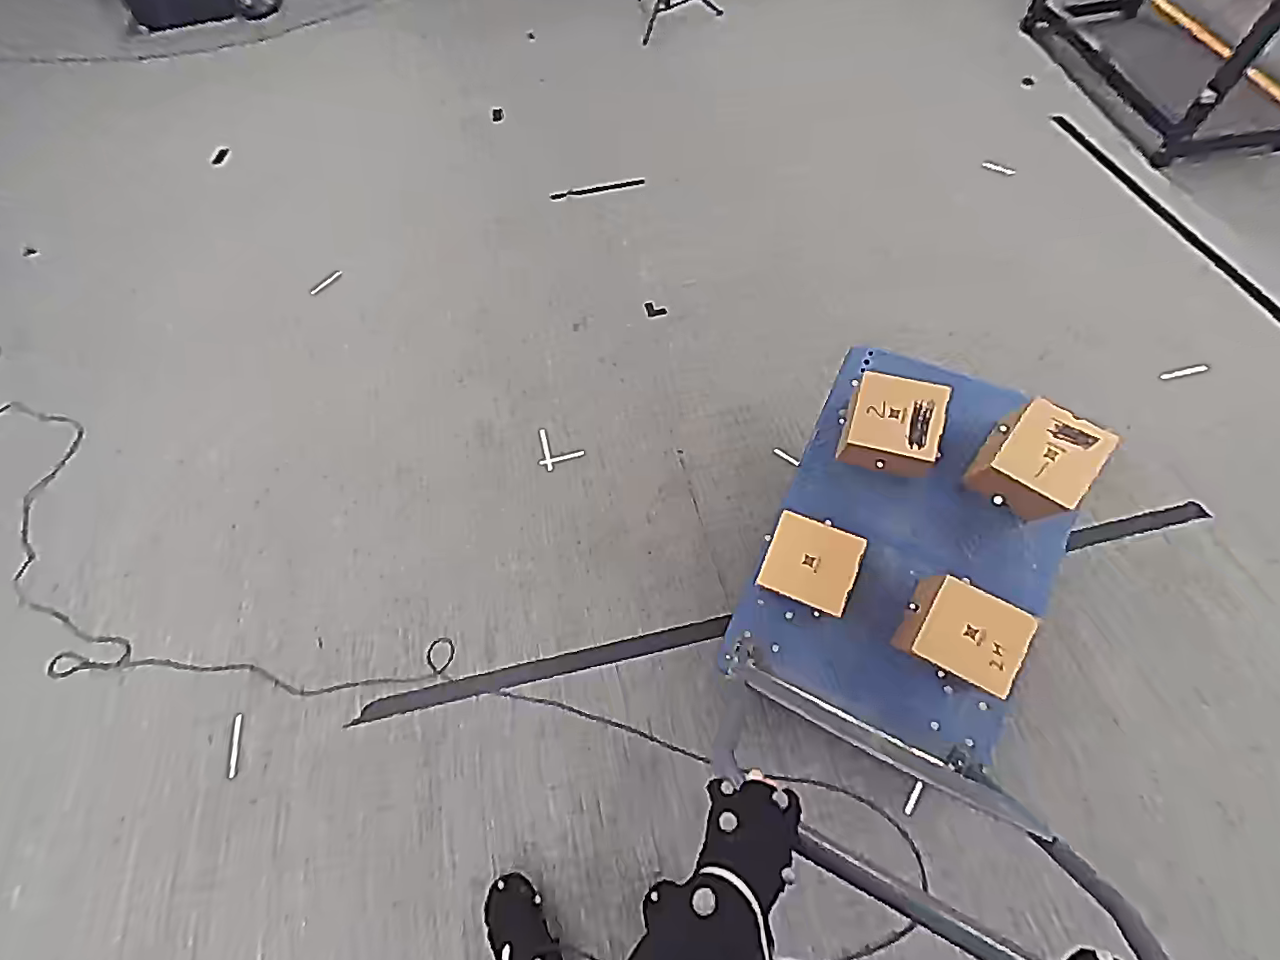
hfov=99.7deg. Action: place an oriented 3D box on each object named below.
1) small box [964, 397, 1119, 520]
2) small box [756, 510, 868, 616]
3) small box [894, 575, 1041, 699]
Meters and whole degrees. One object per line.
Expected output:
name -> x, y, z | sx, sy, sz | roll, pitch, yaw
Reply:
small box -> 0.819, -0.036, 1.126 | 0.168, 0.176, 0.179 | 35, 87, 16
small box -> 0.360, 0.183, 1.166 | 0.179, 0.176, 0.168 | 21, 82, 13
small box -> 0.639, 0.308, 1.082 | 0.179, 0.176, 0.168 | 28, 84, 16
